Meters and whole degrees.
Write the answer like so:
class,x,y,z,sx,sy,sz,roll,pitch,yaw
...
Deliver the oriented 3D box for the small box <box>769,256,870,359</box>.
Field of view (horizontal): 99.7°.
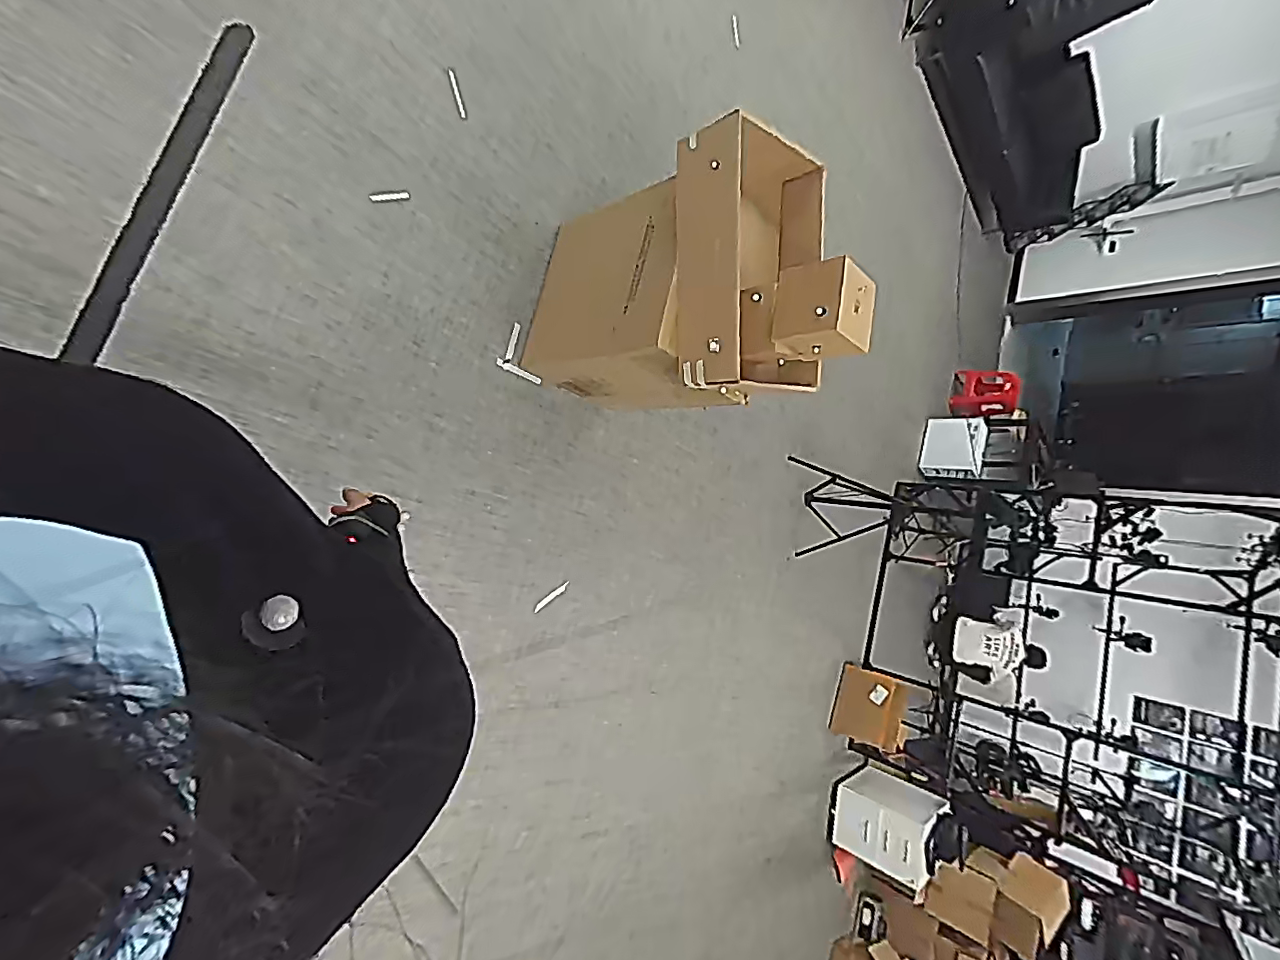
class,x,y,z,sx,sy,sz,roll,pitch,yaw
small box,0.428,-0.401,1.296,0.168,0.176,0.179,13,83,-44
